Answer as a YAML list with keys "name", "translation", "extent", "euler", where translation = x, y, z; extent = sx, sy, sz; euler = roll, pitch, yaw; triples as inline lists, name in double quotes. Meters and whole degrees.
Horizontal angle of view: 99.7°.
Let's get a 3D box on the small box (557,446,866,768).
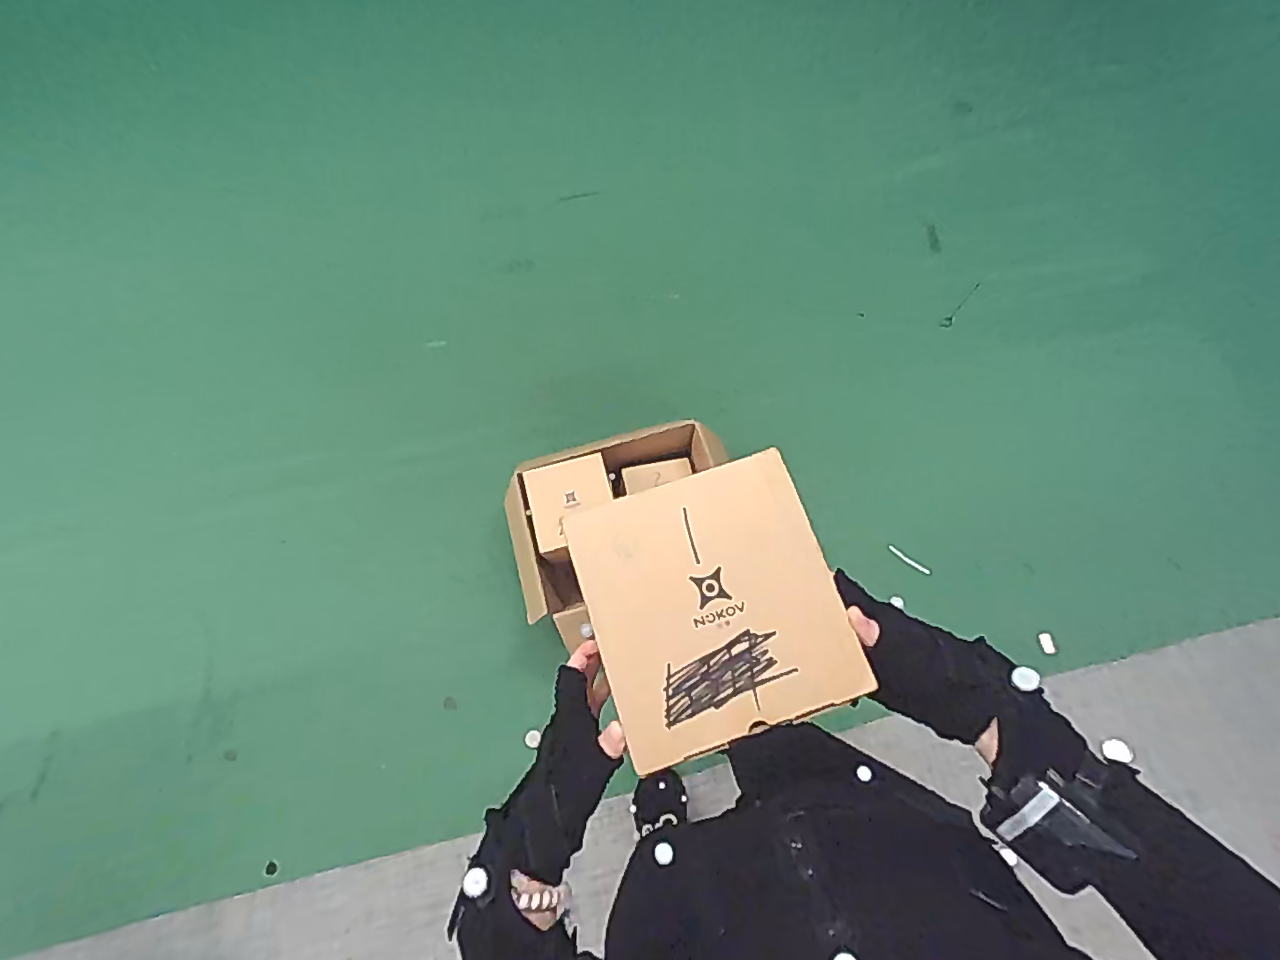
- name: "small box"
  translation: [0.045, 0.097, 0.438]
  extent: [0.168, 0.176, 0.179]
  euler: [-18, 76, -5]
